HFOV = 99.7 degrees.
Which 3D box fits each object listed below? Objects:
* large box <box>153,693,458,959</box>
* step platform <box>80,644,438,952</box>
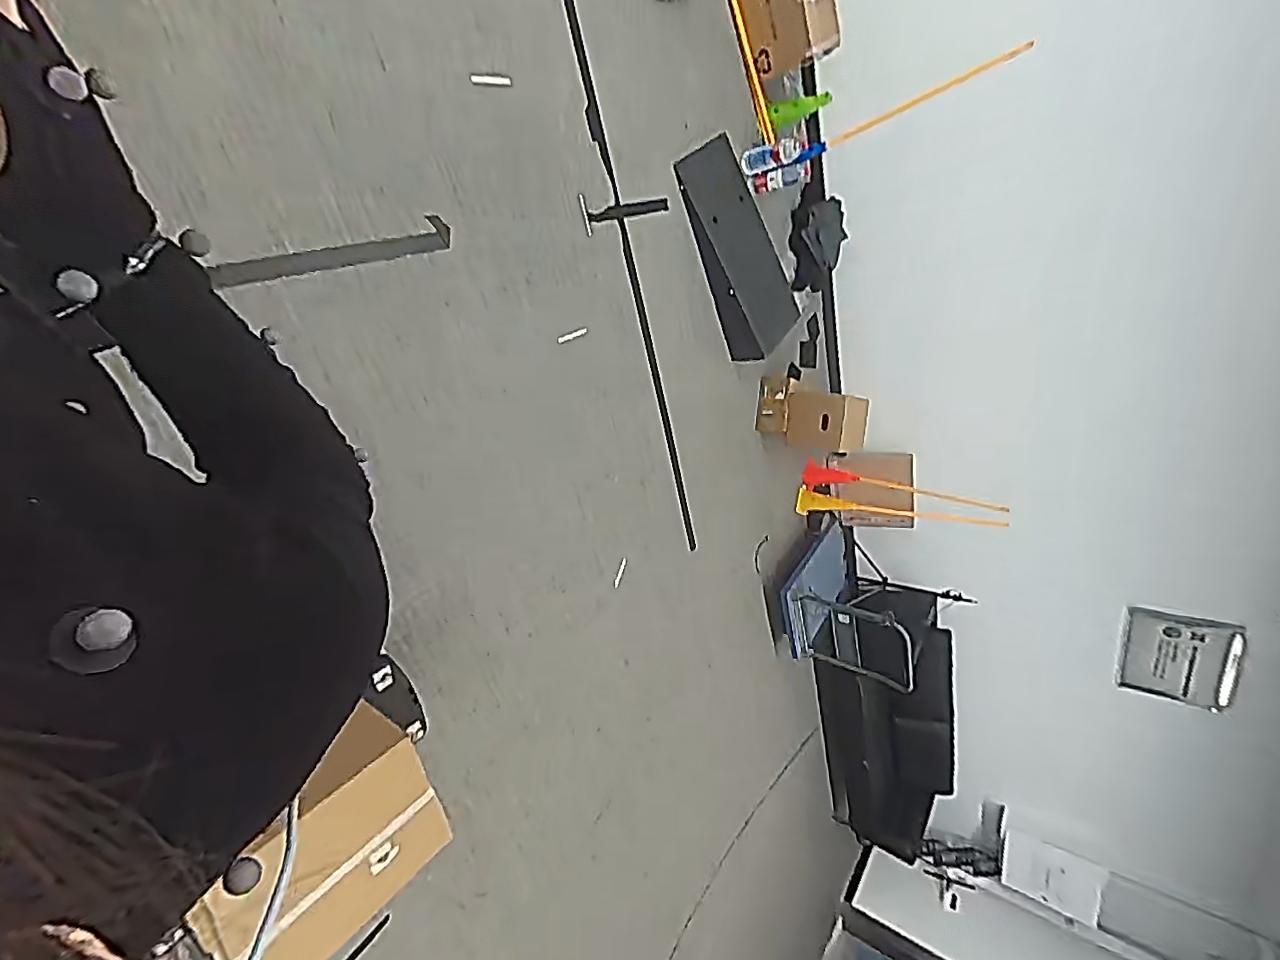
[{"bbox_3d":[-0.674,0.735,1.129,0.408,0.320,0.320,-32,119,-44],"label":"large box"},{"bbox_3d":[-0.840,0.701,1.298,0.684,0.204,0.286,-29,116,-45],"label":"step platform"}]
